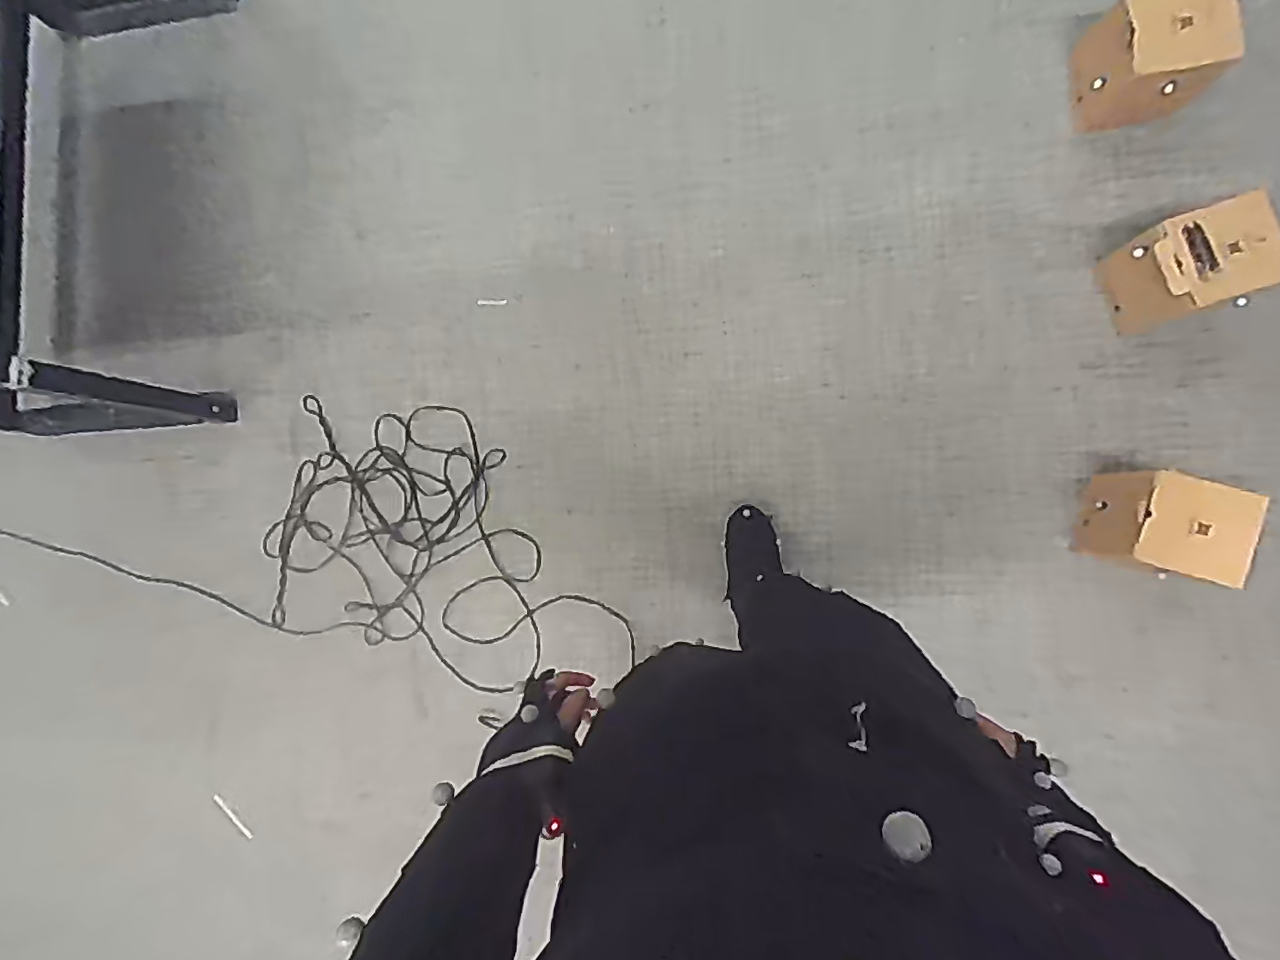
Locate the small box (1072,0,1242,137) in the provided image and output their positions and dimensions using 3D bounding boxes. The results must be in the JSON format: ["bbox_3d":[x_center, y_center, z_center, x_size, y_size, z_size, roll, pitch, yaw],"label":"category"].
[{"bbox_3d":[0.979,-0.800,1.046,0.179,0.176,0.168,-5,87,6],"label":"small box"}]

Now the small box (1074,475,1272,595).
[{"bbox_3d":[0.968,0.095,0.999,0.179,0.176,0.168,17,90,9],"label":"small box"}]
